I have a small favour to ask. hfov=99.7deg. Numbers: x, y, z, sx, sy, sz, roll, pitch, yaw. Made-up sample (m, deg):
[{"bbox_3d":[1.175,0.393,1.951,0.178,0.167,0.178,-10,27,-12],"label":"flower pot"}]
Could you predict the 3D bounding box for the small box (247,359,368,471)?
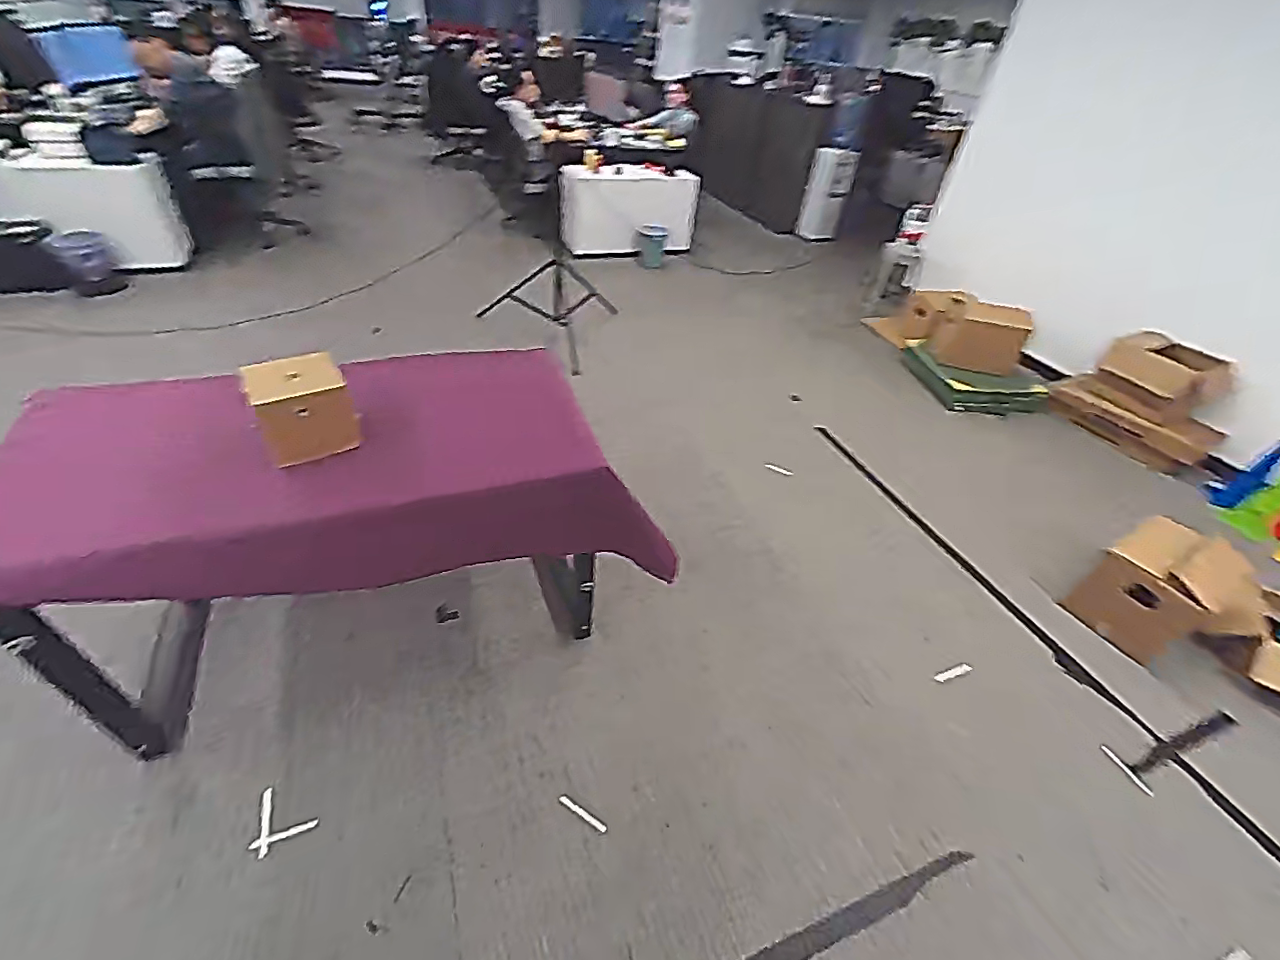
[{"bbox_3d":[-0.737,-0.145,1.207,0.179,0.176,0.168,-22,48,-30],"label":"small box"}]
